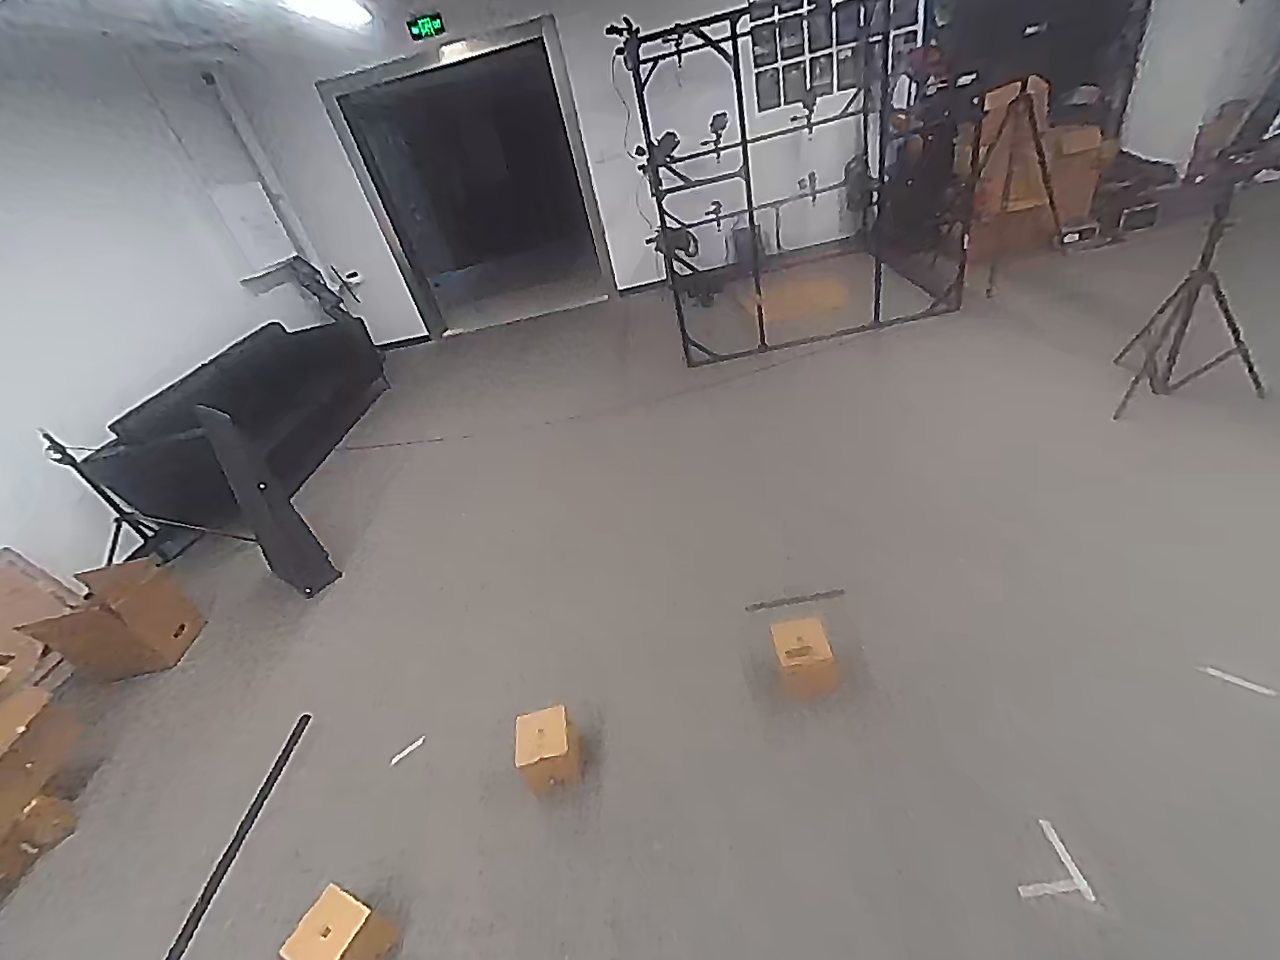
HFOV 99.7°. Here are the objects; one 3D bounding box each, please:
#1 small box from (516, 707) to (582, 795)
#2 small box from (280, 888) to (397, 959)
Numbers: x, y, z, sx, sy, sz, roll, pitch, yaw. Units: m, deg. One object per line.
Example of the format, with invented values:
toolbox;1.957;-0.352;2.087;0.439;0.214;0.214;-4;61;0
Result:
small box;-0.292;0.875;1.746;0.168;0.176;0.179;-16;34;-2
small box;-0.780;1.228;1.419;0.179;0.176;0.168;5;38;28
